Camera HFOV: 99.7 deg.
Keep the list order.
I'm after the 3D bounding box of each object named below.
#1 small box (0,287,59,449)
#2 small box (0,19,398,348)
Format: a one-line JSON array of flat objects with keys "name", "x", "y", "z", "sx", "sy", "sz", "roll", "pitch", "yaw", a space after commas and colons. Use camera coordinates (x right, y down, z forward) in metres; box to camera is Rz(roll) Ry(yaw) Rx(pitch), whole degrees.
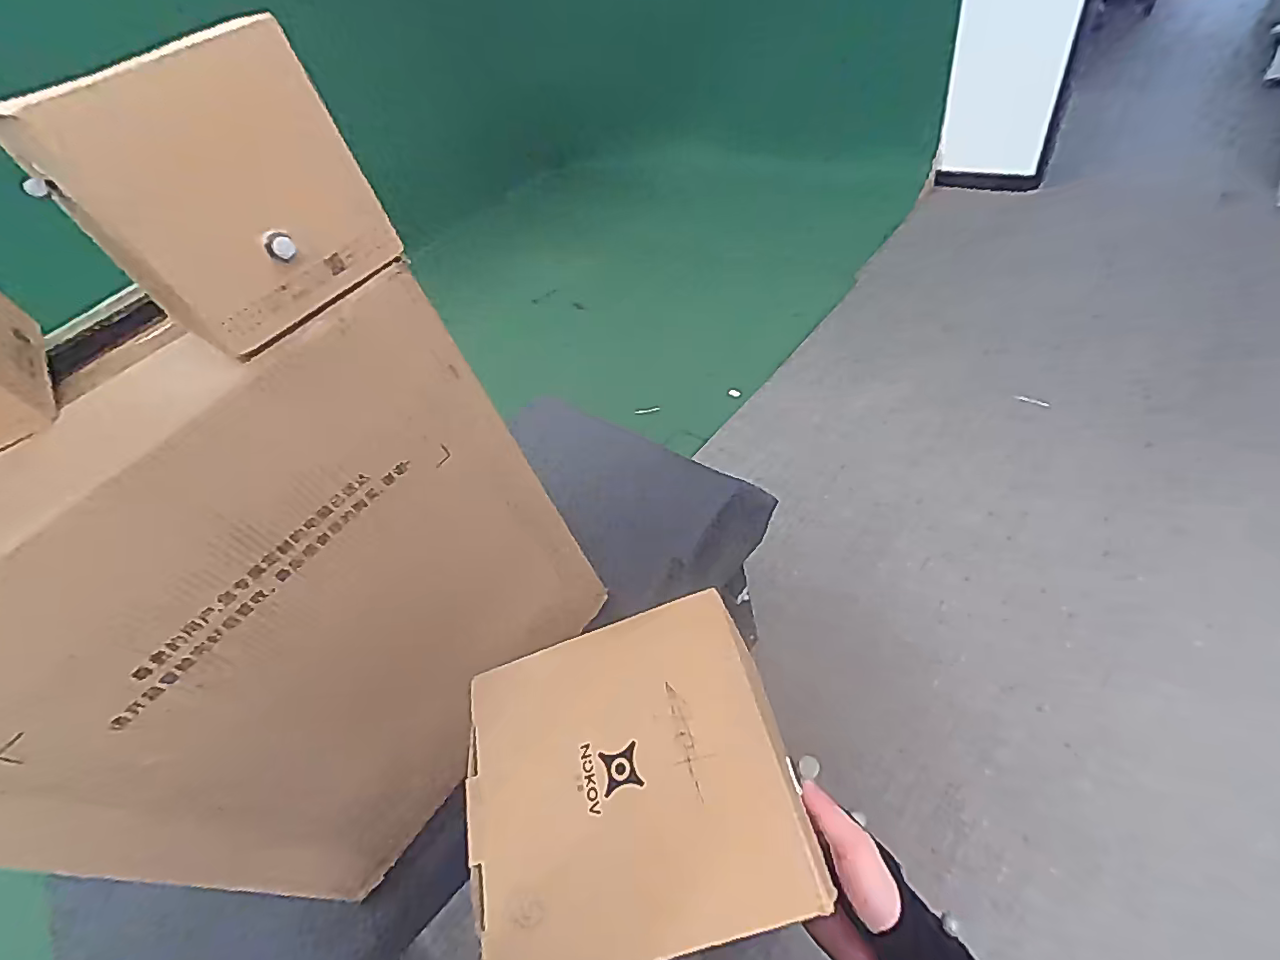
[{"name": "small box", "x": -0.572, "y": -0.092, "z": 0.367, "sx": 0.179, "sy": 0.176, "sz": 0.168, "roll": -36, "pitch": 60, "yaw": -16}, {"name": "small box", "x": -0.339, "y": -0.229, "z": 0.432, "sx": 0.179, "sy": 0.176, "sz": 0.168, "roll": 26, "pitch": 62, "yaw": 33}]
